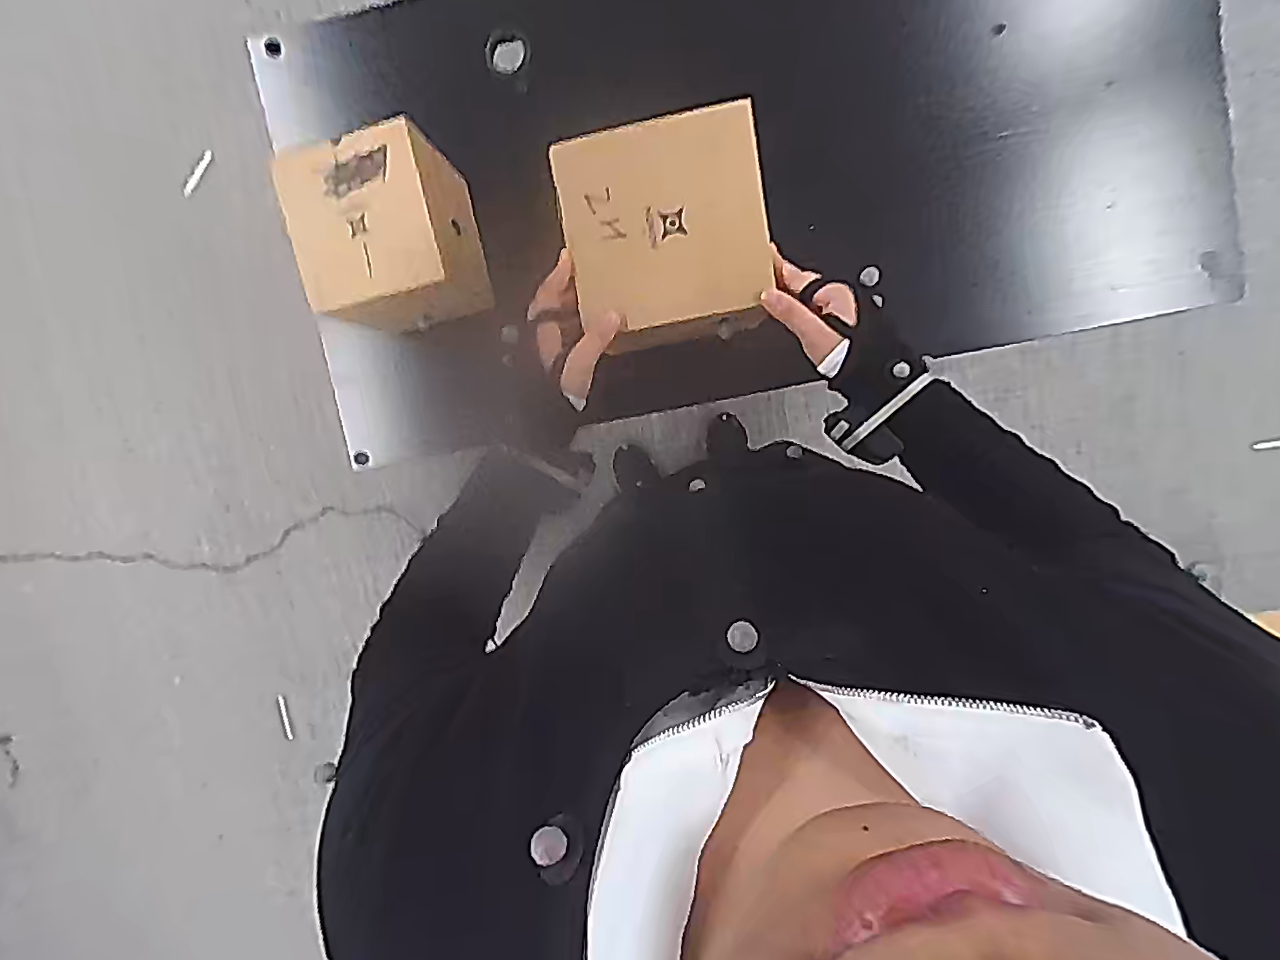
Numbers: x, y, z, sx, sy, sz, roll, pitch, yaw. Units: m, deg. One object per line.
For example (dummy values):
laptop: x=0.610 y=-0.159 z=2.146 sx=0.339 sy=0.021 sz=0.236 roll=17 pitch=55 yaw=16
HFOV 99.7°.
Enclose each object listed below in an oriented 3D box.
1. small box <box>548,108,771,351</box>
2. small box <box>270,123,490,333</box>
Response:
small box: x=0.024 y=-0.232 z=0.549 sx=0.179 sy=0.176 sz=0.168 roll=-9 pitch=98 yaw=7
small box: x=-0.311 y=-0.300 z=0.682 sx=0.168 sy=0.176 sz=0.179 roll=-13 pitch=97 yaw=6
